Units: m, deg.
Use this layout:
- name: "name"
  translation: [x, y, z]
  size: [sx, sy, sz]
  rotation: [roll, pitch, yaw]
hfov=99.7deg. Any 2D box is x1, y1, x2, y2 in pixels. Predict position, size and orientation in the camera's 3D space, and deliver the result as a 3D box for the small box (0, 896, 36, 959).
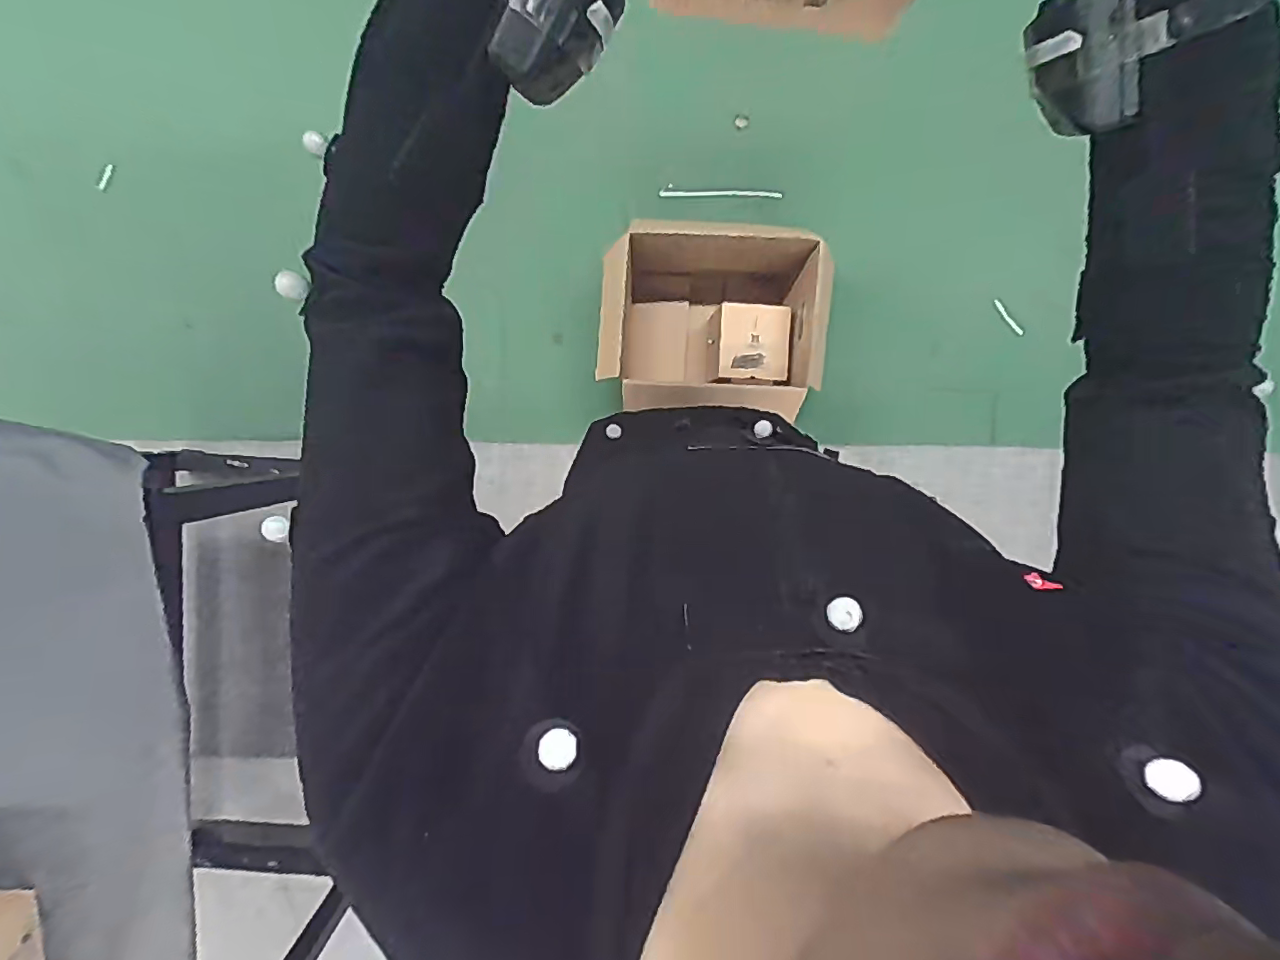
- name: "small box"
  translation: [-0.996, 0.705, 0.733]
  size: [0.179, 0.176, 0.168]
  rotation: [0, 95, 1]
